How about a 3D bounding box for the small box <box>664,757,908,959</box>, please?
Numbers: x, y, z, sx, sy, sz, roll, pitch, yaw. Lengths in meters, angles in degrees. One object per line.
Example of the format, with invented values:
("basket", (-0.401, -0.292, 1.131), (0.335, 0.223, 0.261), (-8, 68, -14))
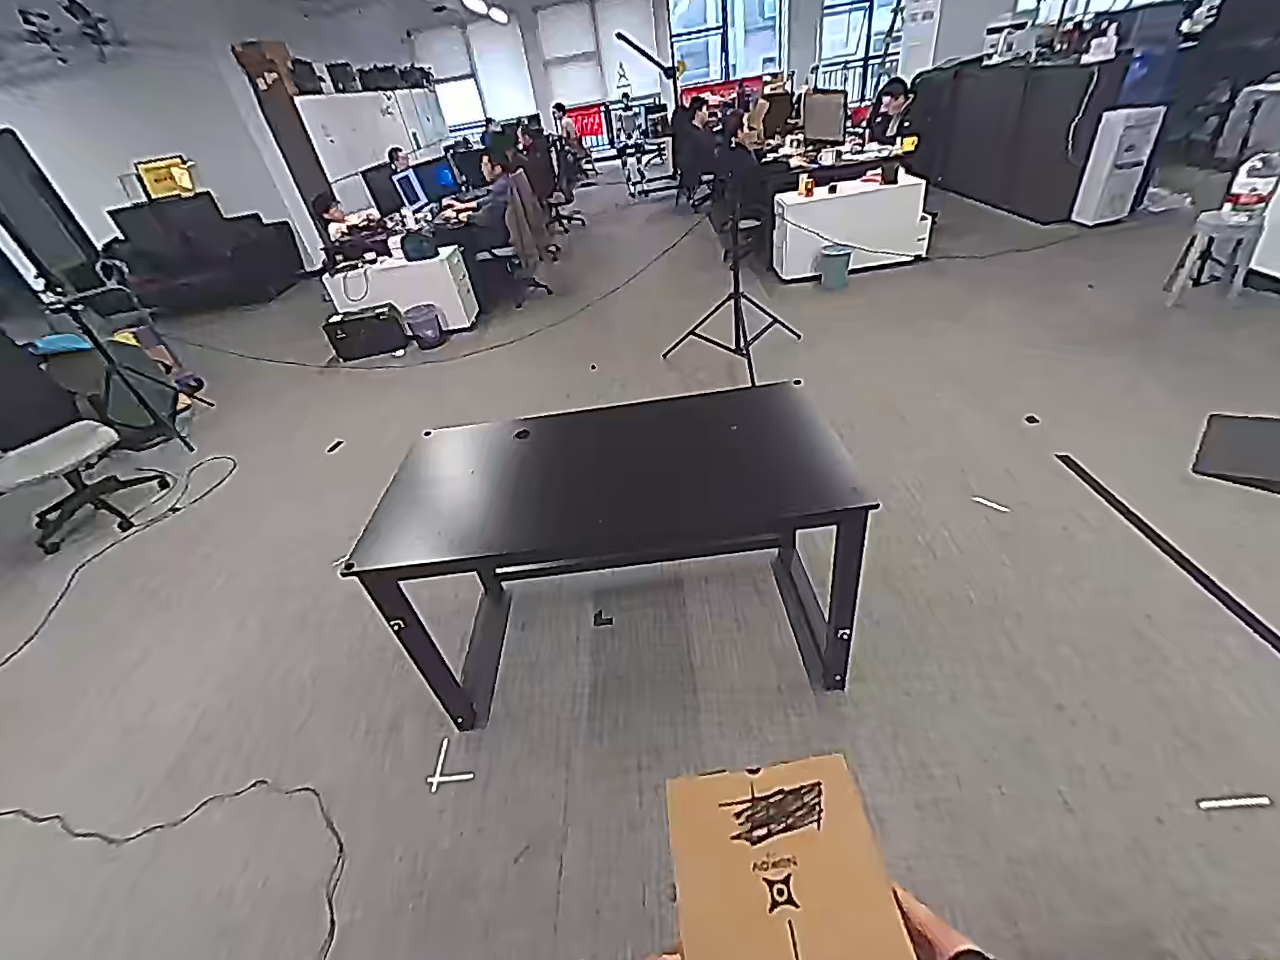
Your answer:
("small box", (0.120, 0.382, 0.484), (0.168, 0.176, 0.179), (-11, 40, 2))
